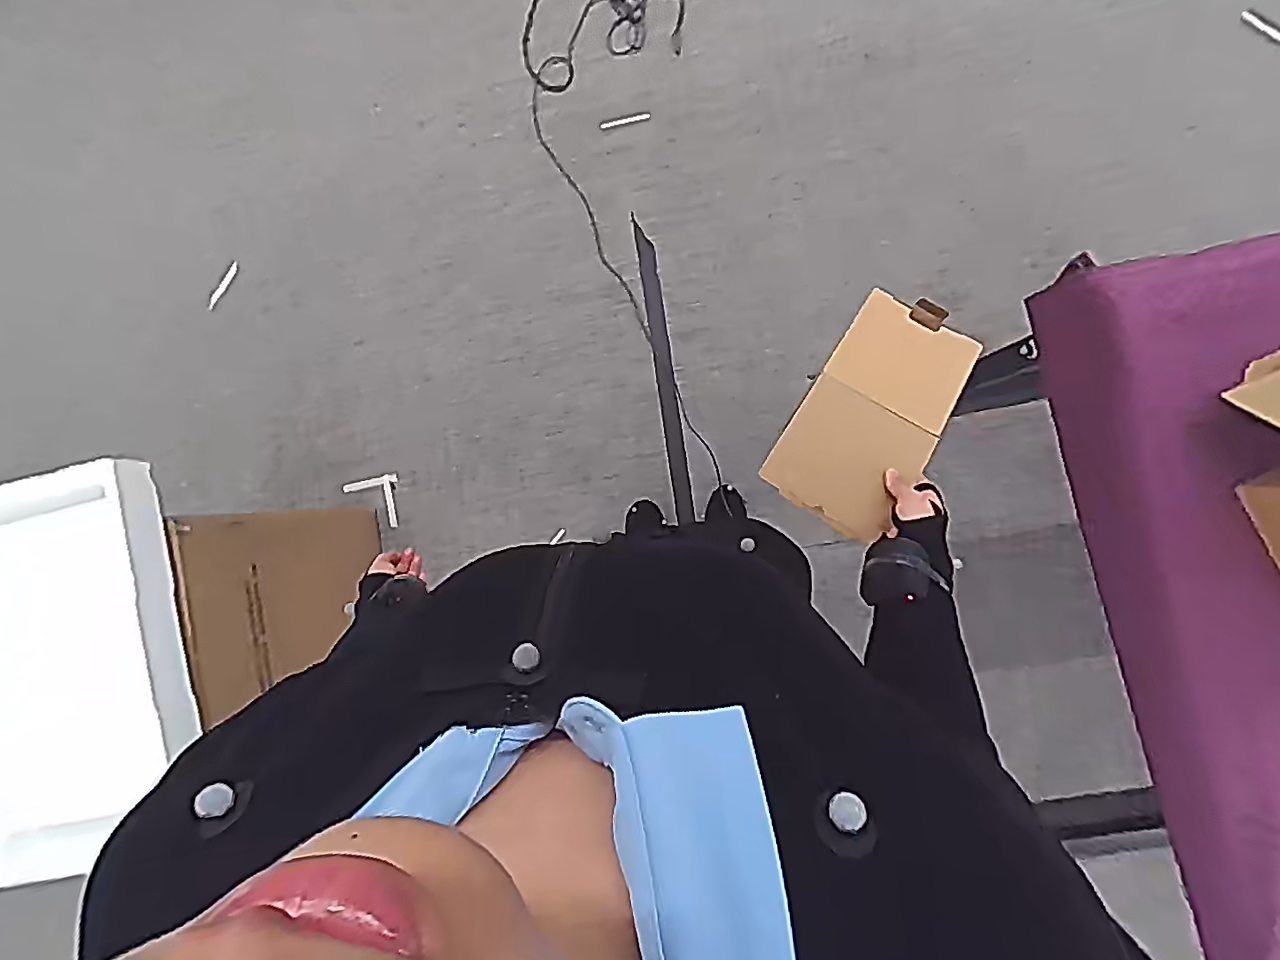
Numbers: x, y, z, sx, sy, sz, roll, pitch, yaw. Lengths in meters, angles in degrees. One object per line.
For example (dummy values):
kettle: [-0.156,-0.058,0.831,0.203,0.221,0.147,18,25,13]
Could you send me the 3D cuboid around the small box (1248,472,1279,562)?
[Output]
small box: [0.842,0.050,0.580,0.168,0.176,0.179,-25,87,6]
